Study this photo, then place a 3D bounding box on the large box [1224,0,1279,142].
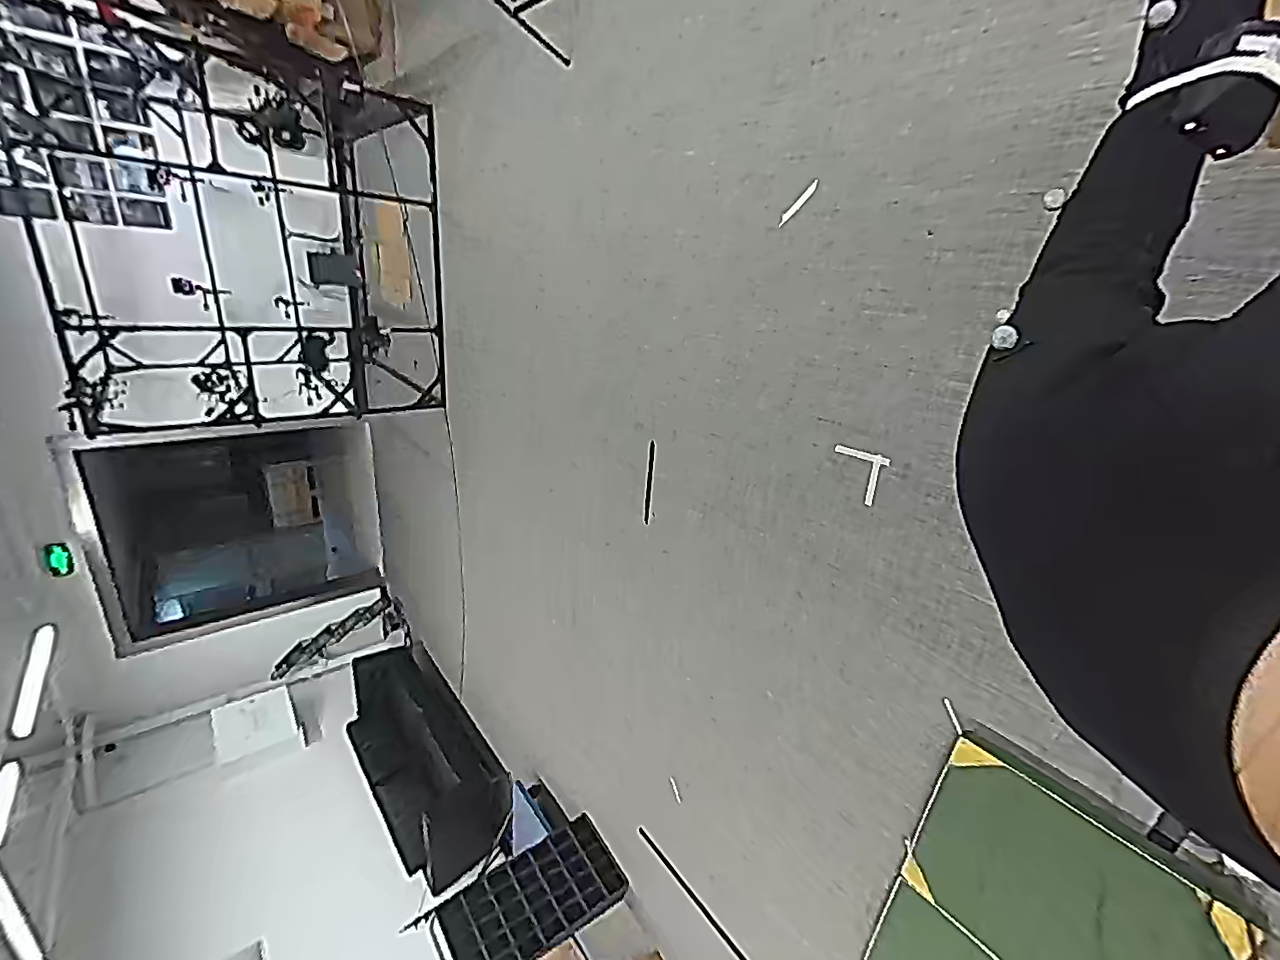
[{"bbox_3d":[0.682,-0.431,0.310,0.408,0.320,0.320,21,121,48],"label":"large box"}]
